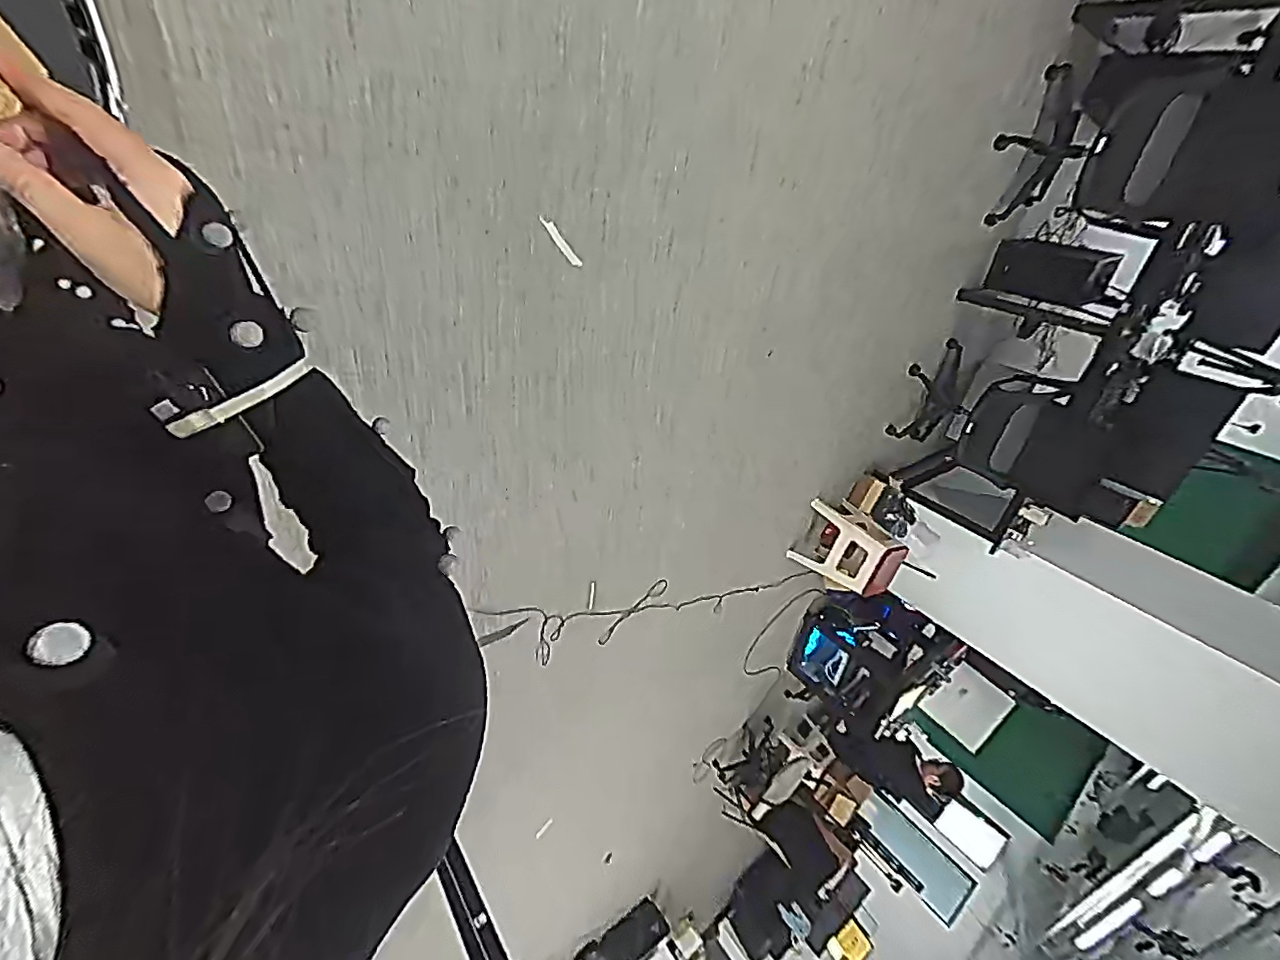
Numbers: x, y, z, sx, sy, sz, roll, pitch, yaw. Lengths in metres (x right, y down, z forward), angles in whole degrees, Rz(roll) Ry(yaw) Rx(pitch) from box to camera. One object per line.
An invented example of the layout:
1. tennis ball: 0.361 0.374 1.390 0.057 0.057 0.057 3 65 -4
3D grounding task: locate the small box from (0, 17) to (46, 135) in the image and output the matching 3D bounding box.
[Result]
1. small box: -0.398 -0.215 0.205 0.168 0.176 0.179 -37 144 -15
